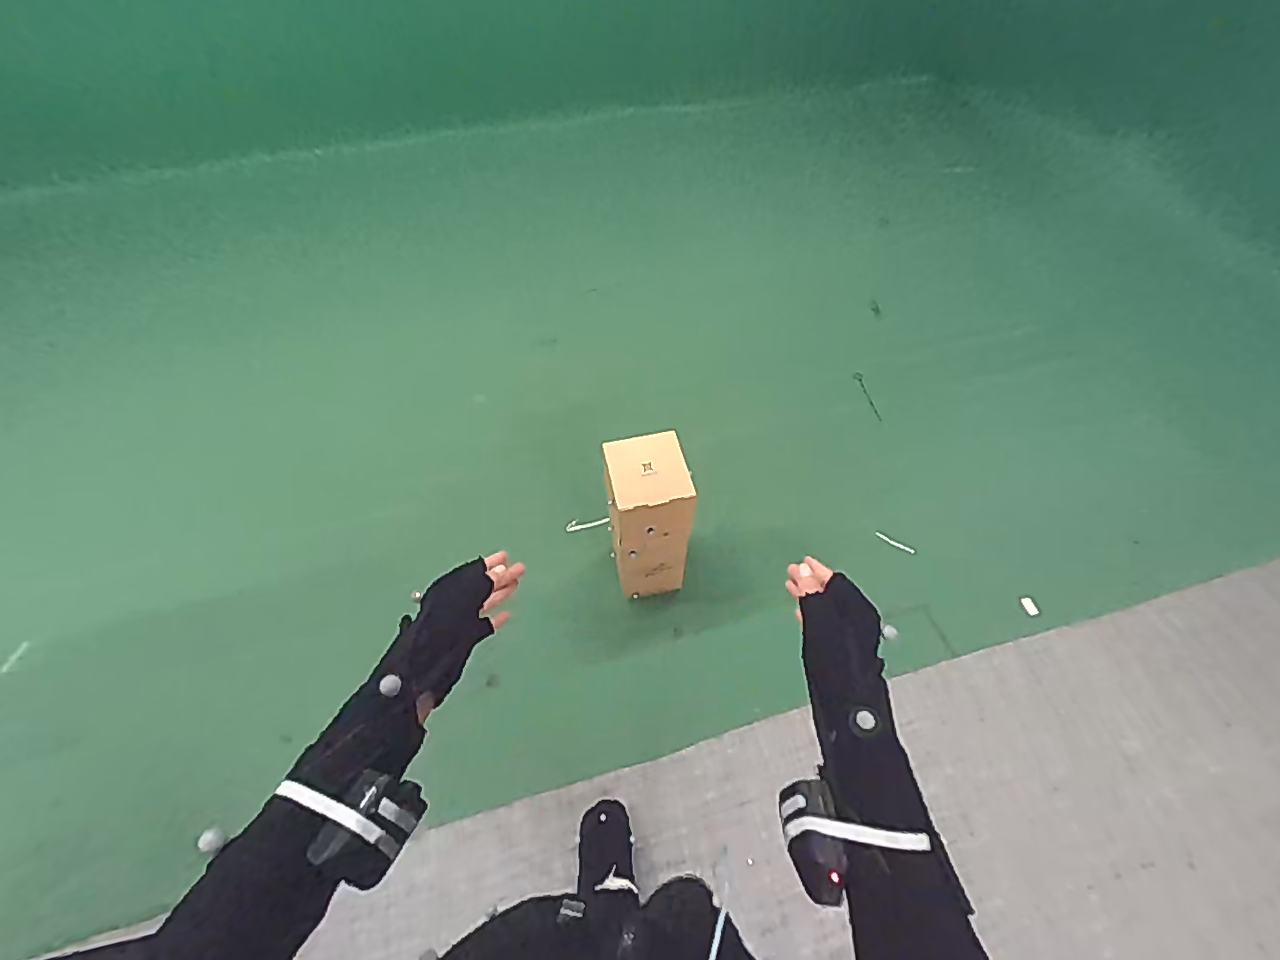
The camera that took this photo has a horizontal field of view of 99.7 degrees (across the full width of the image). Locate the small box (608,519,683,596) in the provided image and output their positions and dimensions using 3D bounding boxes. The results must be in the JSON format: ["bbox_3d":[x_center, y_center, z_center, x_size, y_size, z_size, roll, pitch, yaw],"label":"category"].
[{"bbox_3d":[0.014,0.204,1.473,0.168,0.176,0.179,-12,60,-8],"label":"small box"}]

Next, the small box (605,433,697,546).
[{"bbox_3d":[0.018,0.023,1.200,0.168,0.176,0.179,-11,58,-8],"label":"small box"}]
